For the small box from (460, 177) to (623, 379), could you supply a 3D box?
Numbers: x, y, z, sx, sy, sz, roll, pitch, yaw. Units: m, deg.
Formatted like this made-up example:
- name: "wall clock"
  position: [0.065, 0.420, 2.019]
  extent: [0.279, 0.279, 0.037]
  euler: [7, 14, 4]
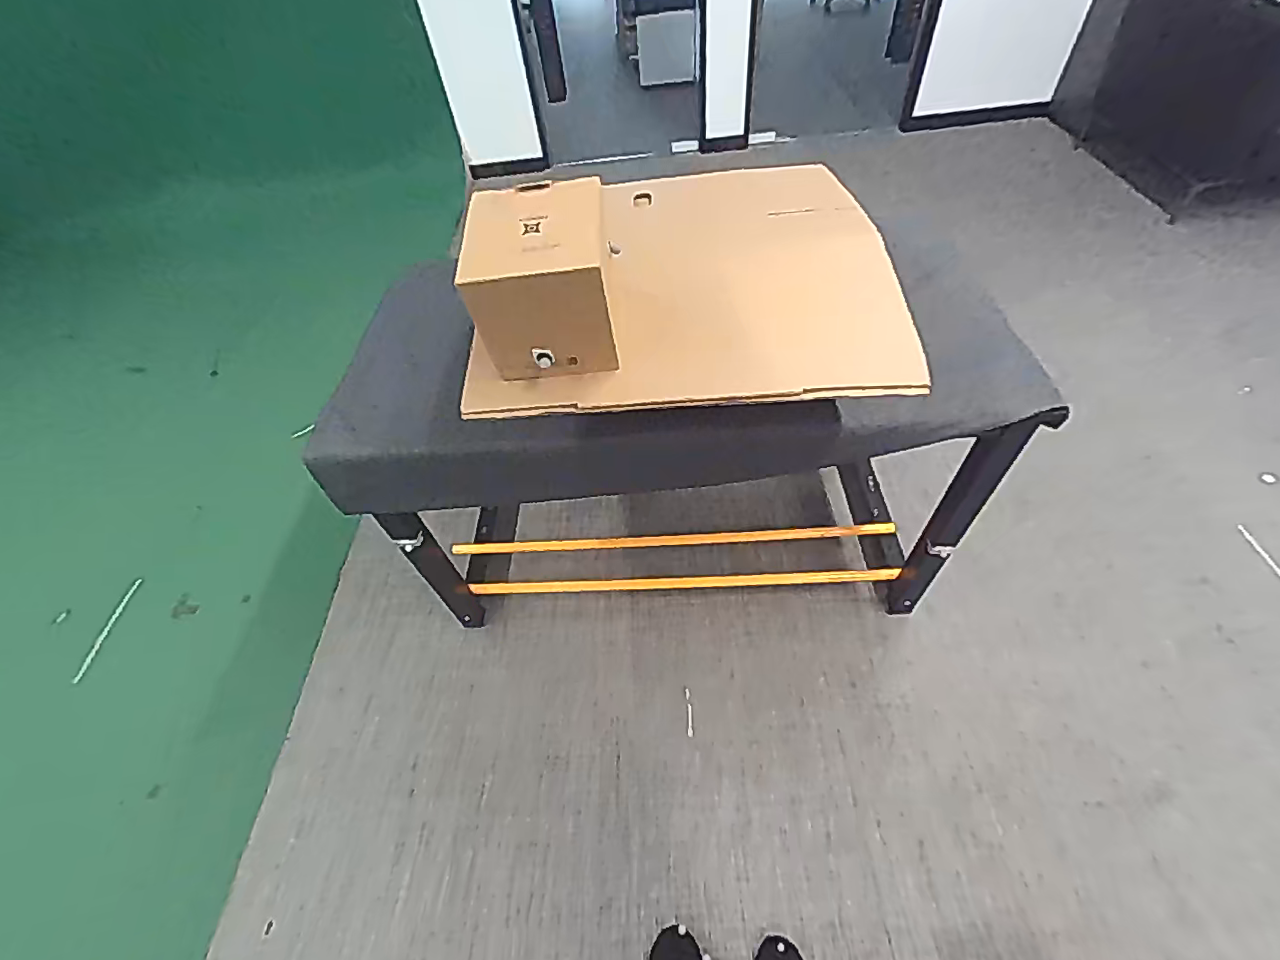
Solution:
- name: "small box"
  position: [-0.116, -0.258, 0.708]
  extent: [0.168, 0.176, 0.179]
  euler: [-6, 60, 4]
